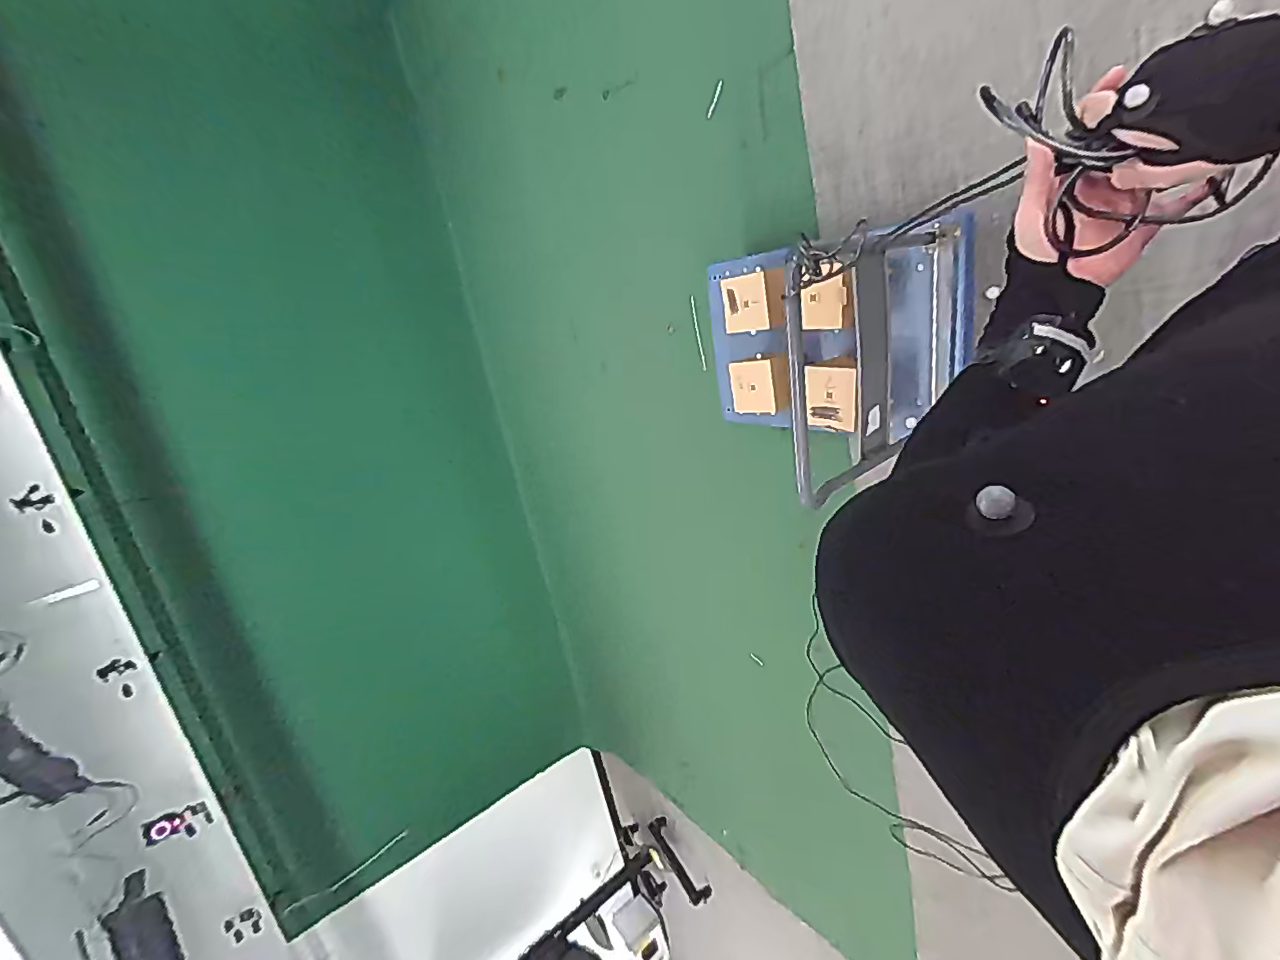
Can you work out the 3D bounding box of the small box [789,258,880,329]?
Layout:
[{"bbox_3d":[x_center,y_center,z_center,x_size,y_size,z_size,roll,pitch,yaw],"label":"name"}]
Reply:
[{"bbox_3d":[0.536,-0.514,1.495,0.179,0.176,0.168,17,122,50],"label":"small box"}]

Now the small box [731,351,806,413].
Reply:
[{"bbox_3d":[0.425,-0.321,1.765,0.179,0.176,0.168,11,116,53],"label":"small box"}]

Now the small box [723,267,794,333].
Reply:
[{"bbox_3d":[0.385,-0.560,1.684,0.179,0.176,0.168,12,118,51],"label":"small box"}]
